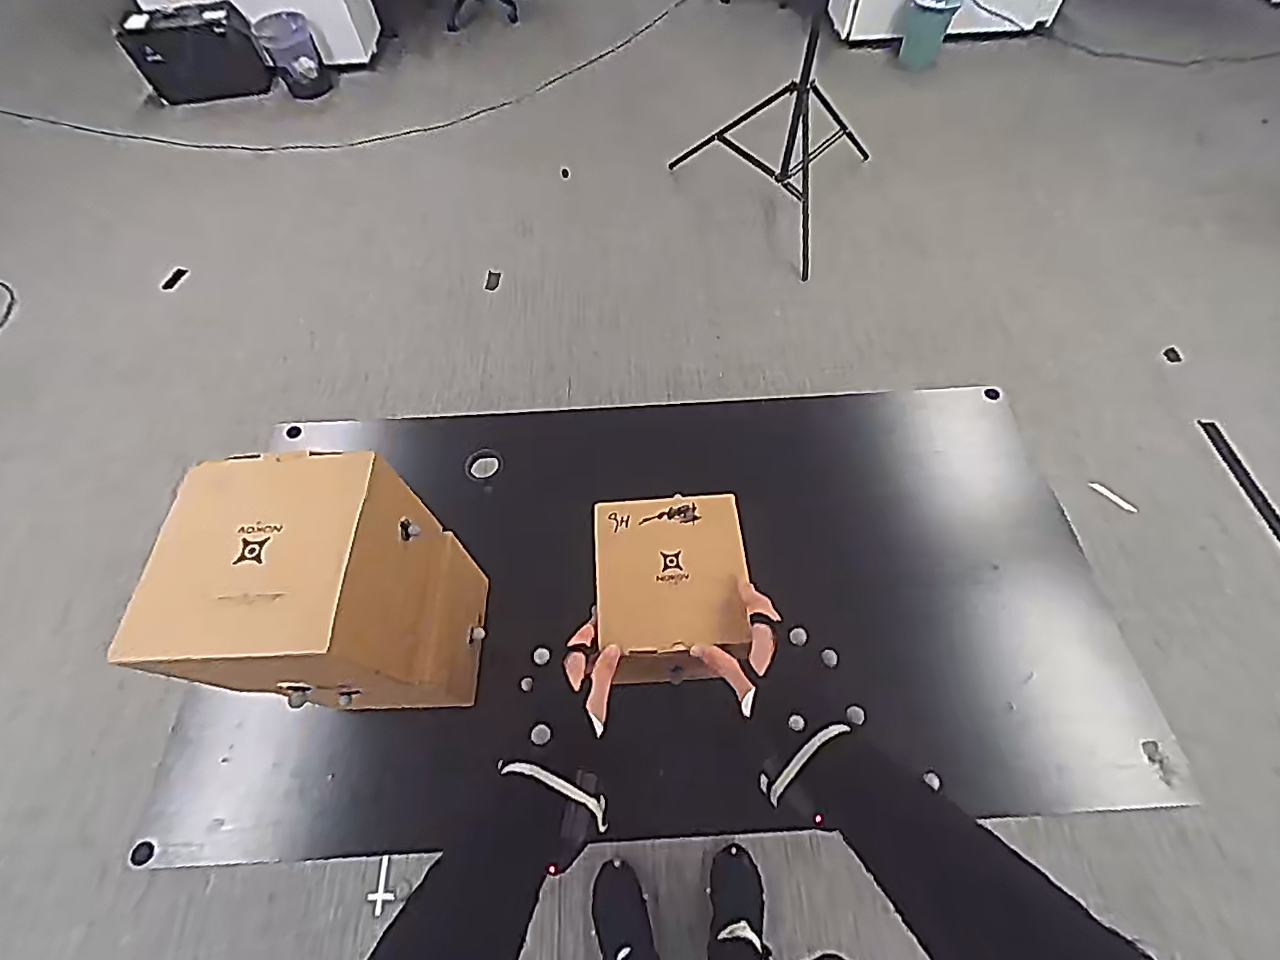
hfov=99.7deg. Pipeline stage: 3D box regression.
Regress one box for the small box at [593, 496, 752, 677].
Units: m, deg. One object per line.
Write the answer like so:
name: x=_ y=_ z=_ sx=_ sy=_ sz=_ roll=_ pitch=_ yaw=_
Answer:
small box: x=0.033 y=0.138 z=0.661 sx=0.168 sy=0.176 sz=0.179 roll=-4 pitch=60 yaw=0

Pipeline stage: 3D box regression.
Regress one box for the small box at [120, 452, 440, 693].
small box: x=-0.303 y=0.093 z=0.507 sx=0.168 sy=0.176 sz=0.179 roll=-4 pitch=61 yaw=1

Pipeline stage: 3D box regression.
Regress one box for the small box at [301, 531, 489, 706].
small box: x=-0.297 y=0.172 z=0.648 sx=0.179 sy=0.176 sz=0.168 roll=-2 pitch=60 yaw=0
